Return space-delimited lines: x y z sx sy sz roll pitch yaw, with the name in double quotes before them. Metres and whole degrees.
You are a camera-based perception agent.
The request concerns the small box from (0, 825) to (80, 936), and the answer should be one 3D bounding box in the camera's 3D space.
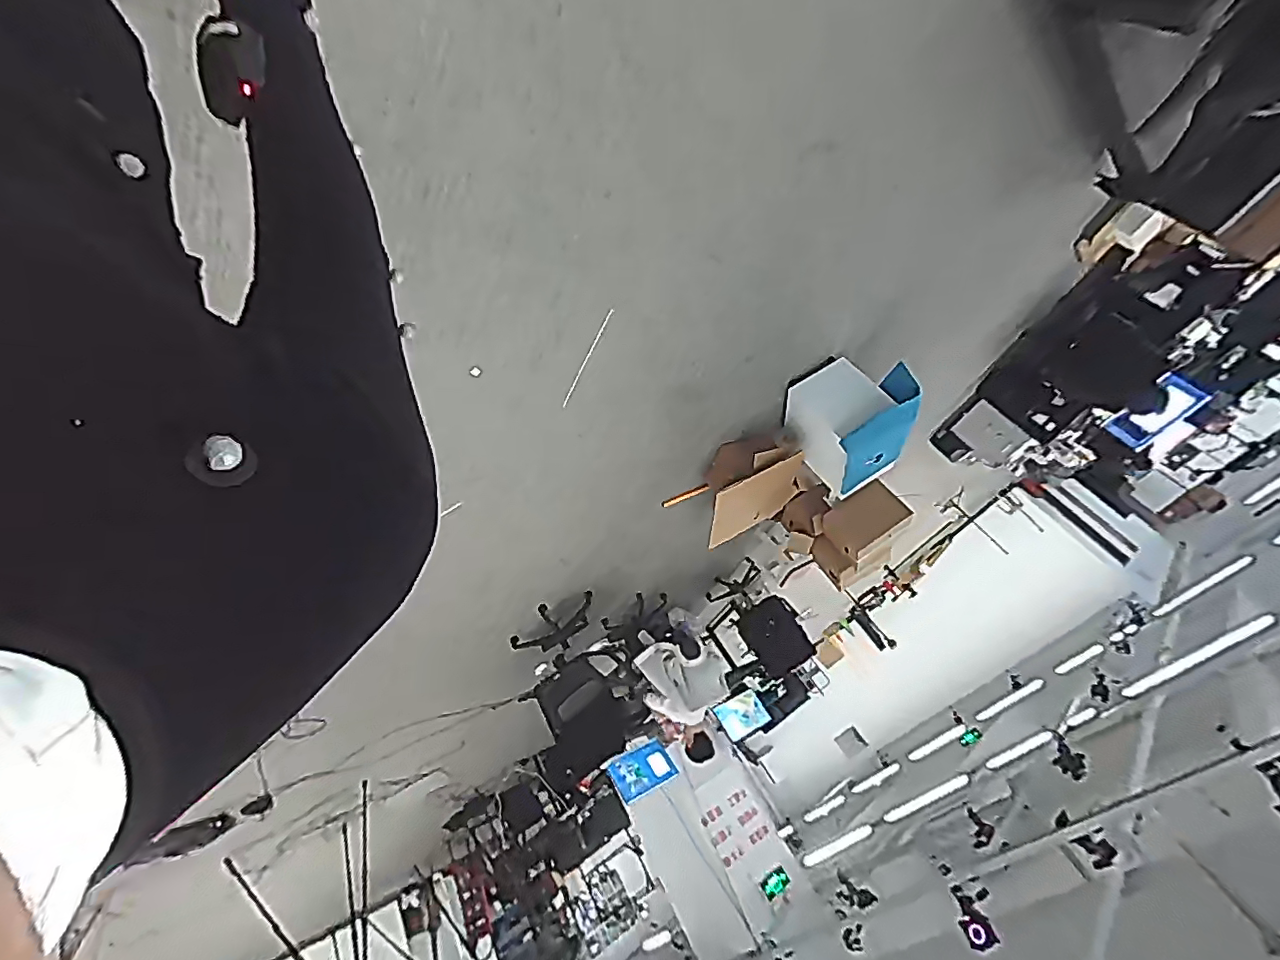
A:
"small box" -1.575 1.031 1.398 0.168 0.176 0.179 -3 139 -42
